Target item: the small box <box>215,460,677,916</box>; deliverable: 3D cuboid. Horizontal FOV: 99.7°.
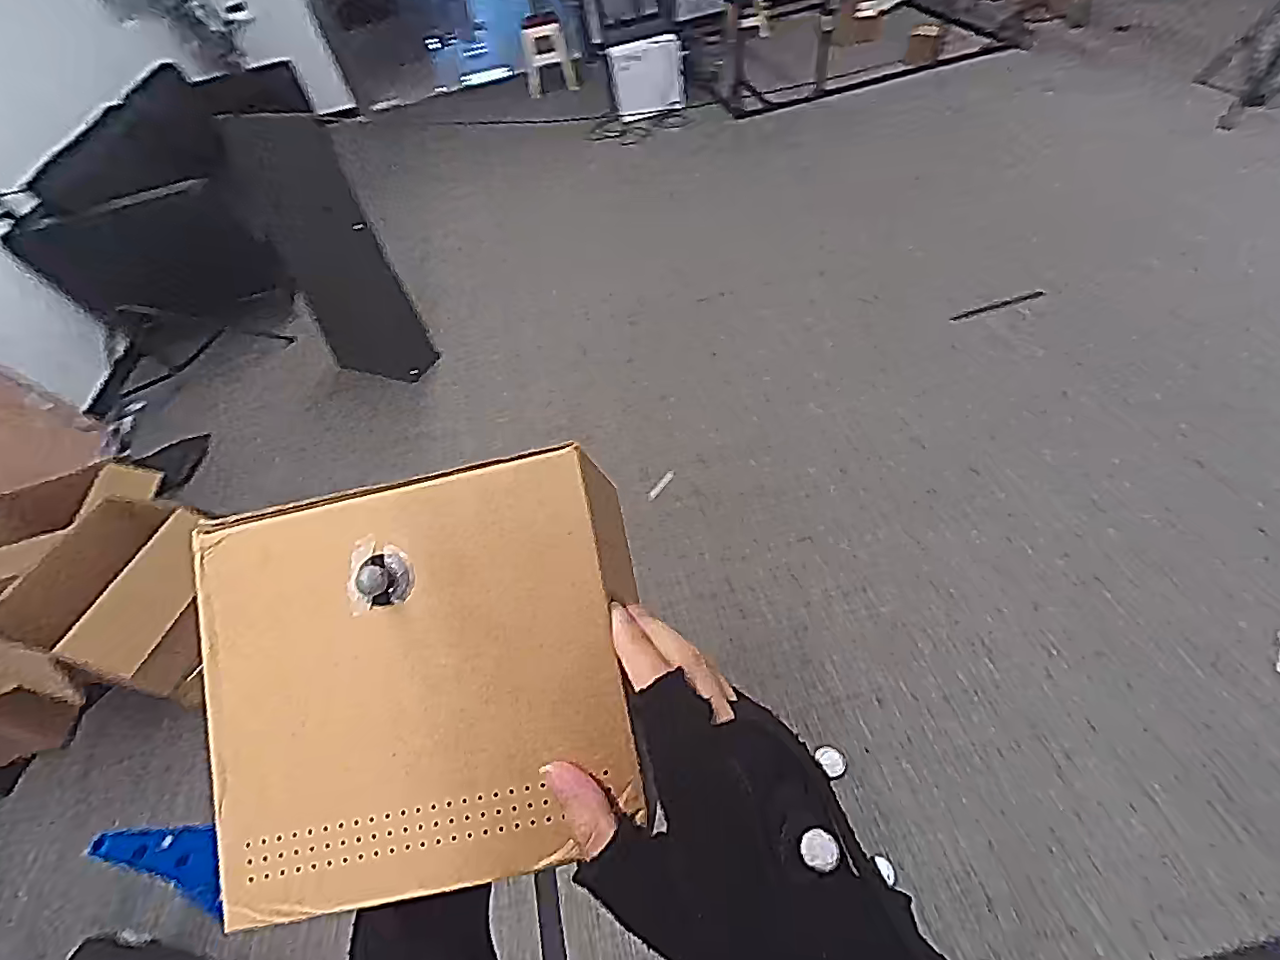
[{"bbox_3d":[-0.084,0.099,0.303,0.179,0.168,0.176,-12,83,3],"label":"small box"}]
